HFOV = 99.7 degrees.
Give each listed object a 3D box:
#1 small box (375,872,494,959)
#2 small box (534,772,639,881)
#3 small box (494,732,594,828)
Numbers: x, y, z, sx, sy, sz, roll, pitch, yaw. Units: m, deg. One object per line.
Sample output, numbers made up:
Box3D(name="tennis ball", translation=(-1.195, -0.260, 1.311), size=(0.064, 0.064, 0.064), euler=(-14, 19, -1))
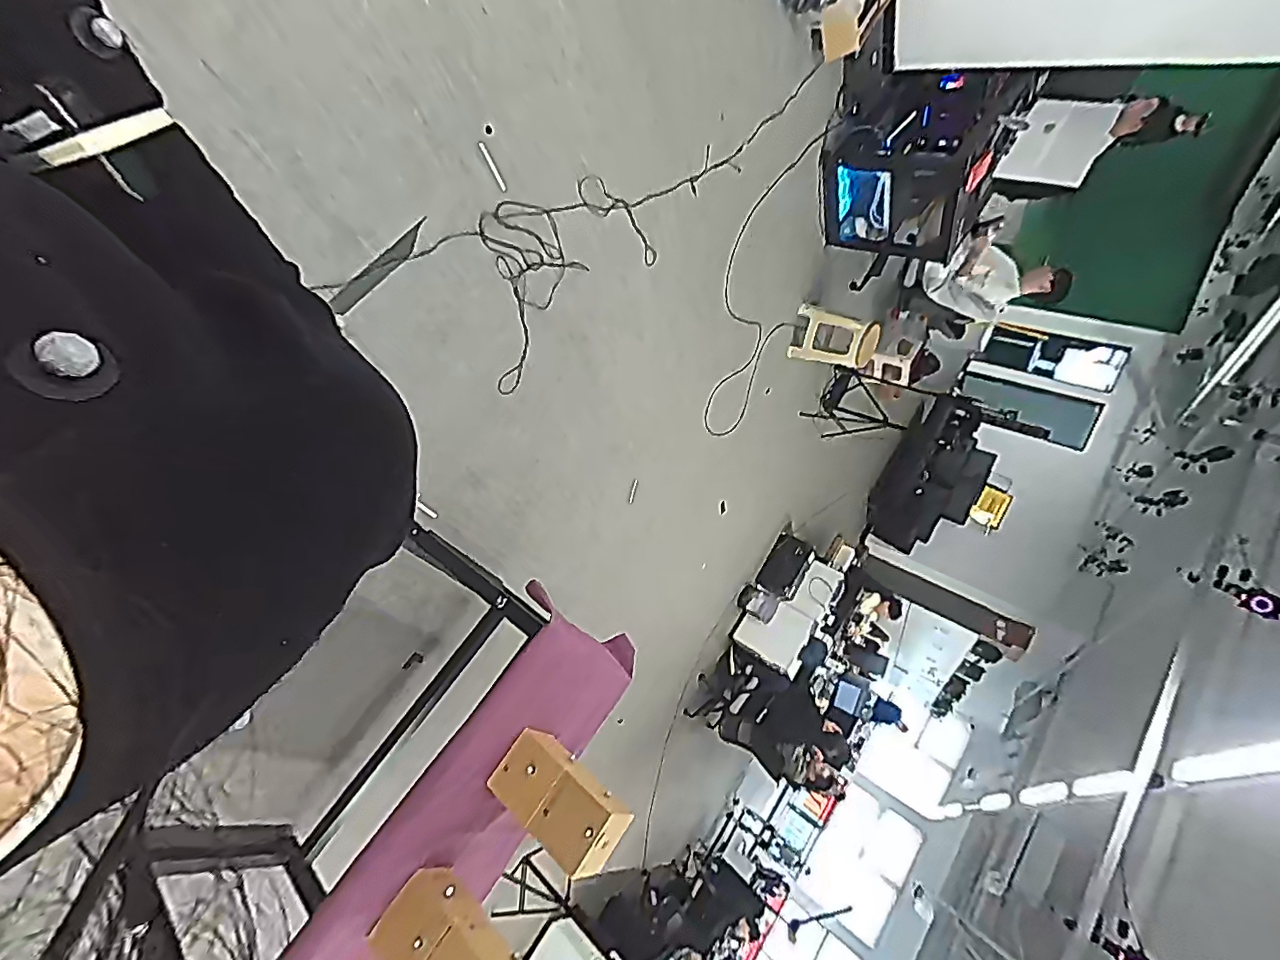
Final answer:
Box3D(name="small box", translation=(-0.504, 1.102, 1.327), size=(0.179, 0.176, 0.168), euler=(-51, 144, -18))
Box3D(name="small box", translation=(-0.135, 0.877, 1.386), size=(0.168, 0.176, 0.179), euler=(-55, 147, -15))
Box3D(name="small box", translation=(-0.261, 0.812, 1.469), size=(0.168, 0.176, 0.179), euler=(-54, 147, -16))
